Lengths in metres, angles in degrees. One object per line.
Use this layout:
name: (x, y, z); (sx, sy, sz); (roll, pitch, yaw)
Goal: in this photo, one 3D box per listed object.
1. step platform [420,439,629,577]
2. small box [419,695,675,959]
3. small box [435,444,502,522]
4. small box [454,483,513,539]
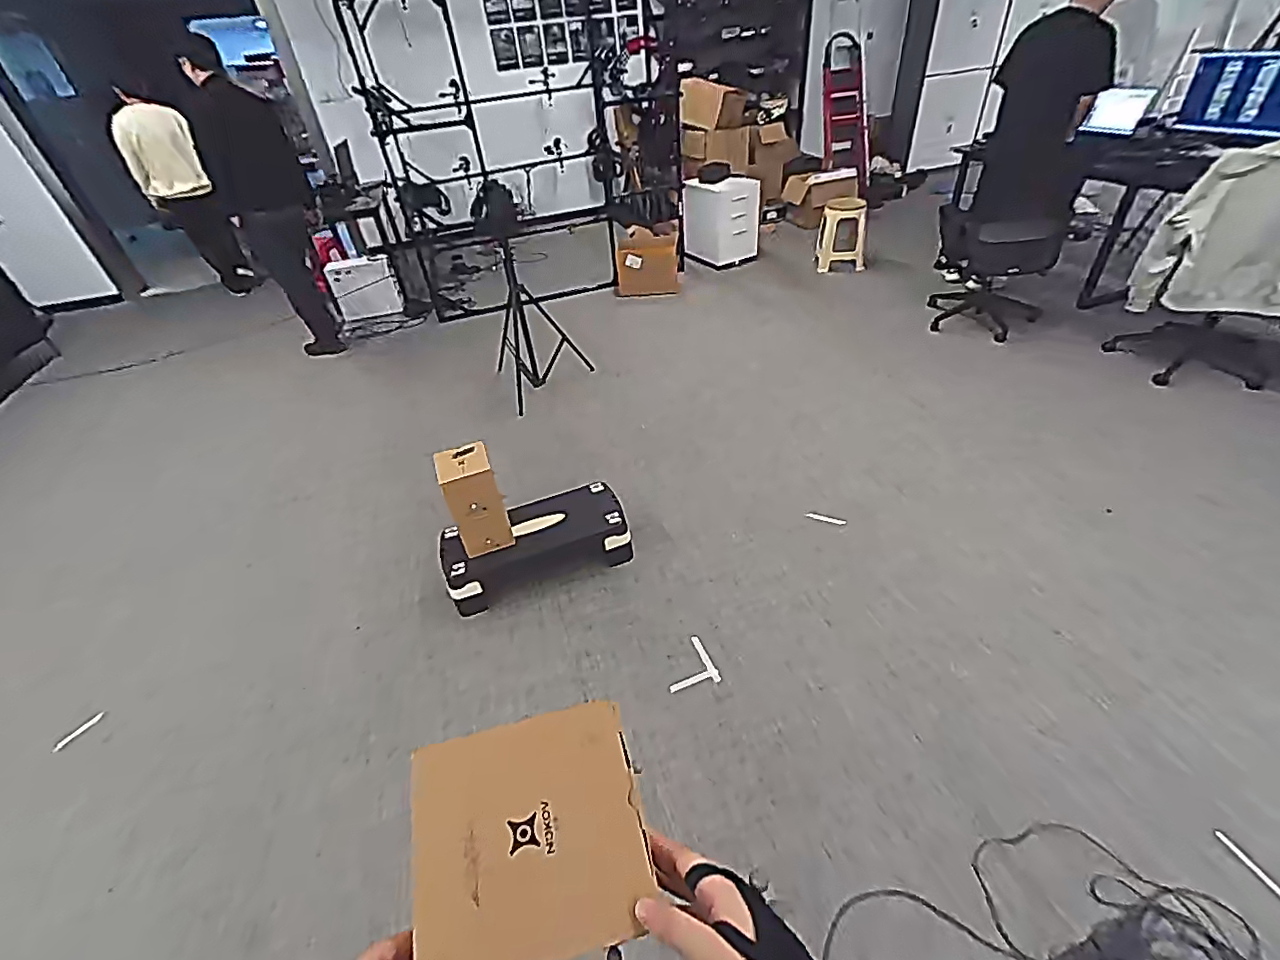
step platform: (-0.384, 0.091, 1.873); (0.684, 0.204, 0.286); (-17, 39, -13)
small box: (-0.079, 0.317, 0.478); (0.179, 0.176, 0.168); (-13, 52, -10)
small box: (-0.569, 0.009, 1.795); (0.168, 0.176, 0.179); (-18, 40, -14)
small box: (-0.550, 0.139, 1.894); (0.168, 0.176, 0.179); (-18, 40, -13)
